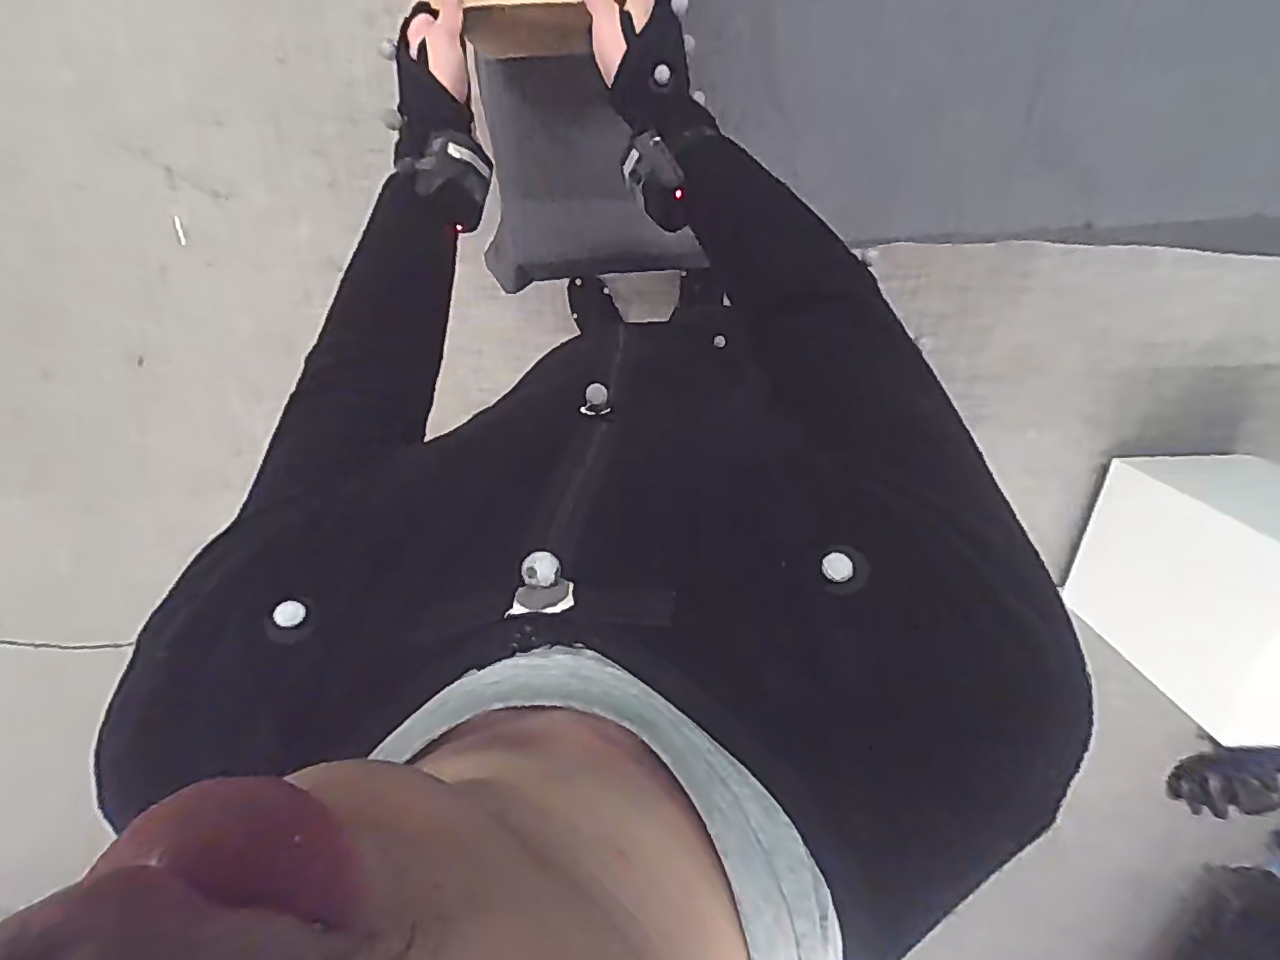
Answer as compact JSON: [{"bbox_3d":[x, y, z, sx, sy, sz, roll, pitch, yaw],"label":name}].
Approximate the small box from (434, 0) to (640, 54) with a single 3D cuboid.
[{"bbox_3d":[-0.087,-0.506,0.483,0.179,0.176,0.168,-1,115,2],"label":"small box"}]
